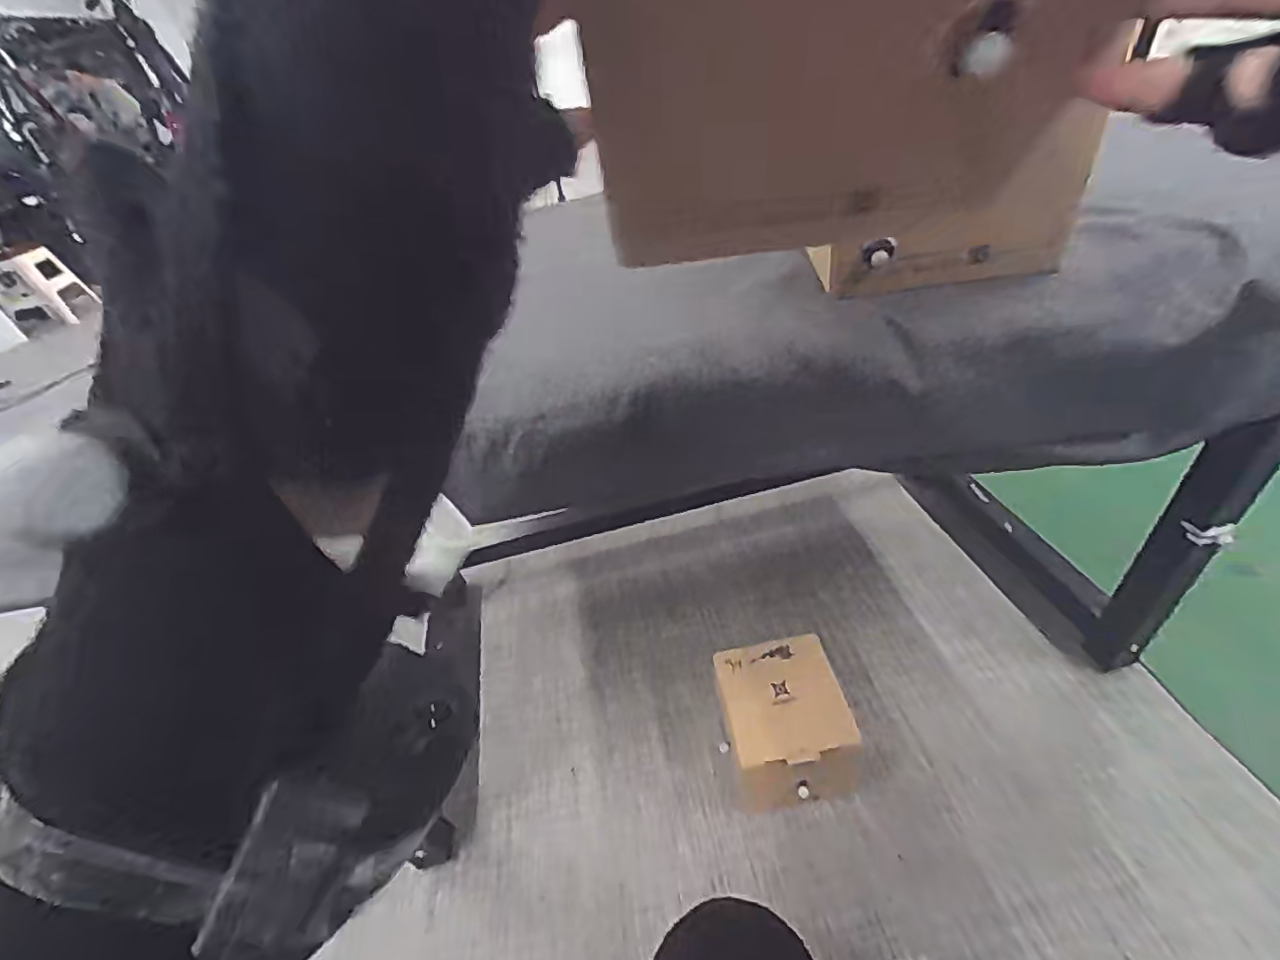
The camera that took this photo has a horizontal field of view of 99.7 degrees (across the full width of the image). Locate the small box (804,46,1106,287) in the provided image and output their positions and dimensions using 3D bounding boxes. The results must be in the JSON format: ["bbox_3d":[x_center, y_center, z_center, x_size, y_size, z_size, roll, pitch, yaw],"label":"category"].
[{"bbox_3d":[0.217,-0.262,0.424,0.168,0.176,0.179,-4,39,10],"label":"small box"}]
